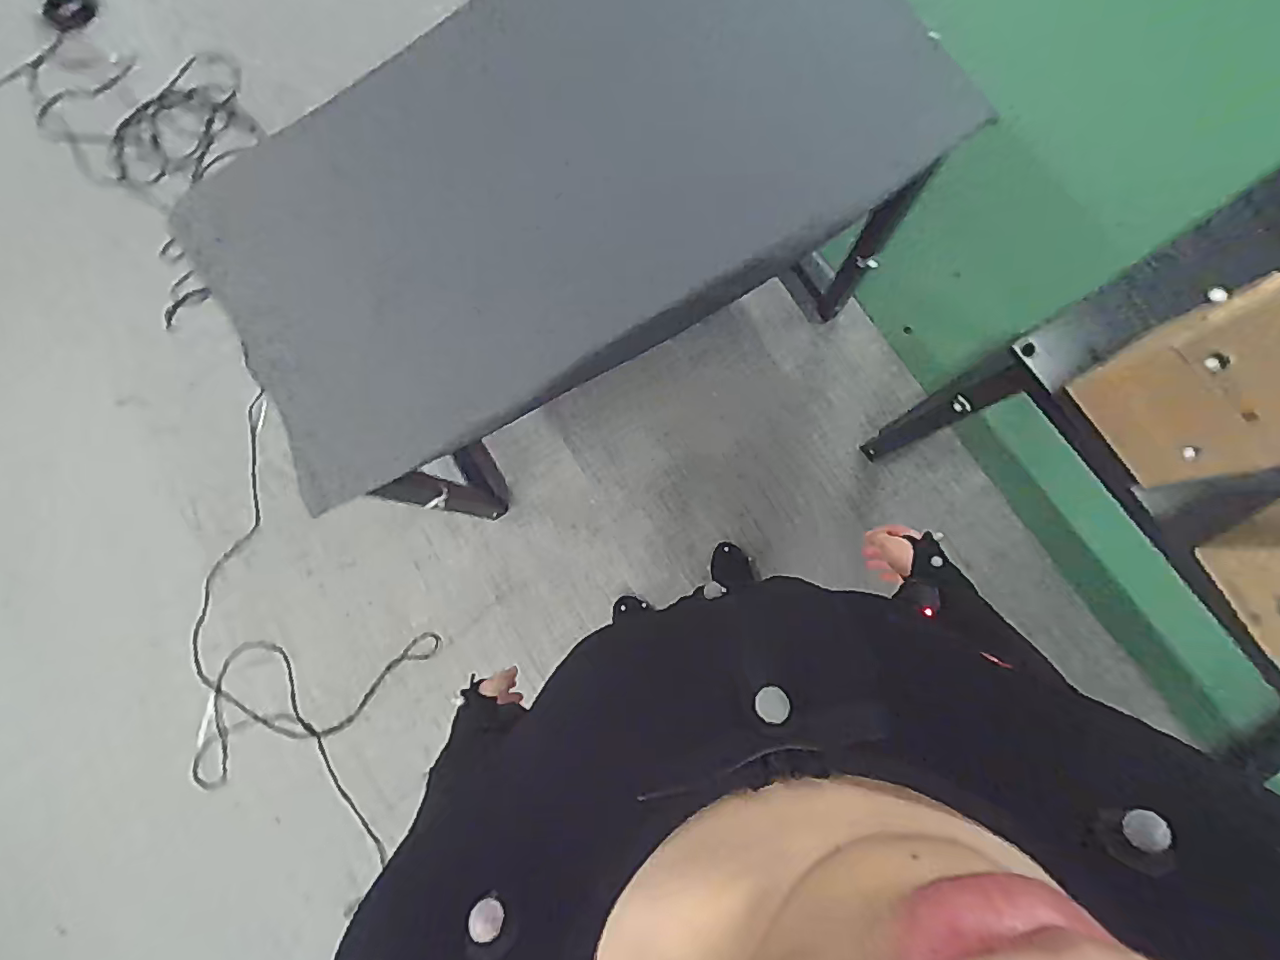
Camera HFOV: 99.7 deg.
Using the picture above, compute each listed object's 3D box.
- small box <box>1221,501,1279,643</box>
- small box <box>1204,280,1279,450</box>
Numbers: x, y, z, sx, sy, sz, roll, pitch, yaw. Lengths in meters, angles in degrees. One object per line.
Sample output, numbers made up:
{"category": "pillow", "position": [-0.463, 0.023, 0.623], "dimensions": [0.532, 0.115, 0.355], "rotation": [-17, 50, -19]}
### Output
{"category": "small box", "position": [0.873, 0.105, 0.645], "dimensions": [0.179, 0.176, 0.168], "rotation": [-30, 82, 0]}
{"category": "small box", "position": [0.723, -0.145, 0.523], "dimensions": [0.179, 0.176, 0.168], "rotation": [-31, 83, -2]}
